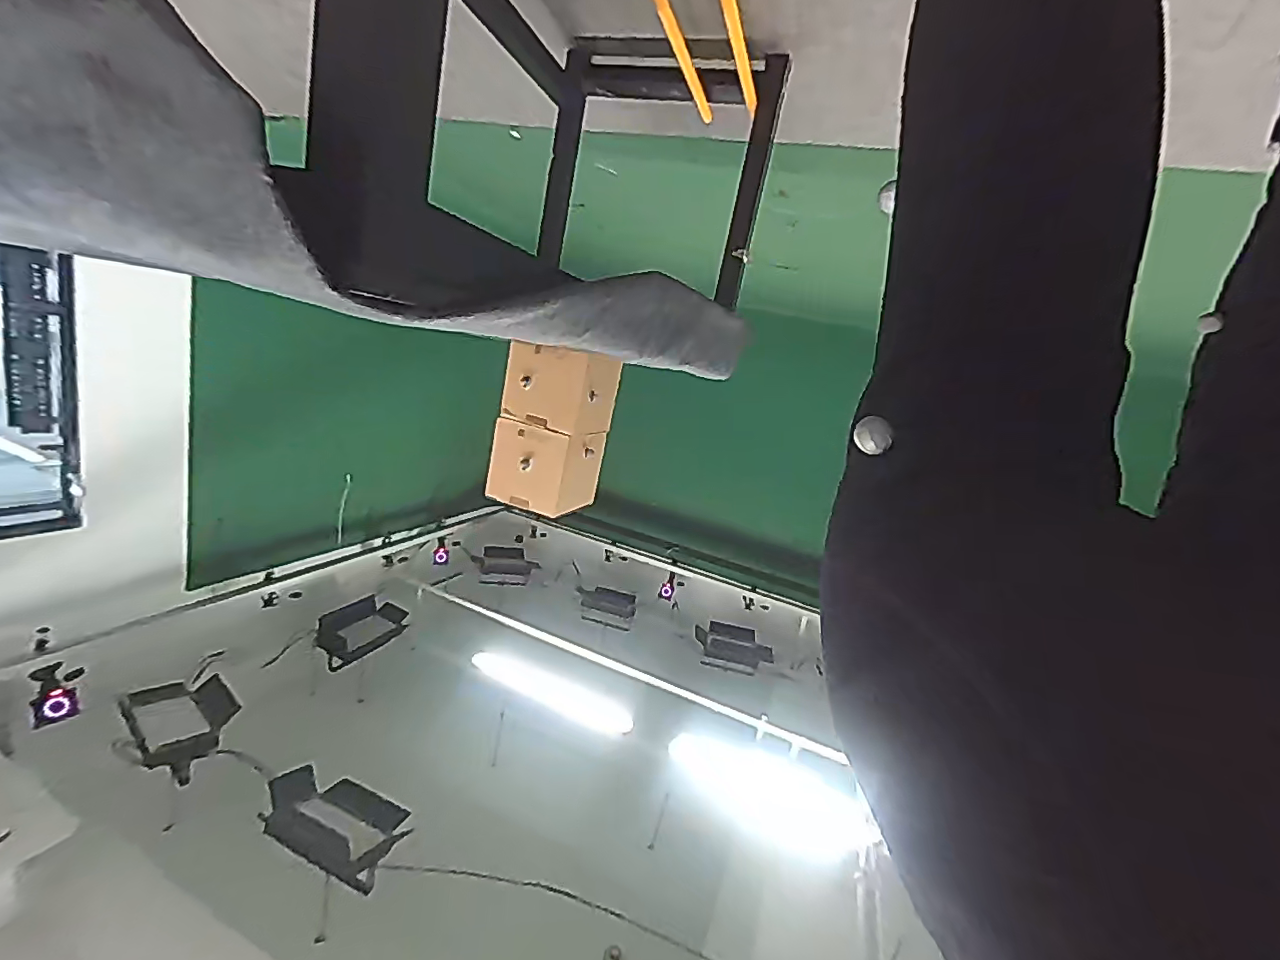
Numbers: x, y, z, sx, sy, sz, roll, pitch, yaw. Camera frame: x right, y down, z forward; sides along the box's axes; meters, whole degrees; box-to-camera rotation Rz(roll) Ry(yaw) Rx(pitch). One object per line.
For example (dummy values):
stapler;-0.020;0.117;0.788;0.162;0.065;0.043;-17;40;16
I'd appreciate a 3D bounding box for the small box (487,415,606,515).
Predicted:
small box;-0.188;-0.042;1.113;0.168;0.176;0.179;16;-168;18

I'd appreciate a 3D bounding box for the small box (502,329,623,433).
small box;-0.148;-0.197;1.075;0.168;0.176;0.179;17;-166;17
